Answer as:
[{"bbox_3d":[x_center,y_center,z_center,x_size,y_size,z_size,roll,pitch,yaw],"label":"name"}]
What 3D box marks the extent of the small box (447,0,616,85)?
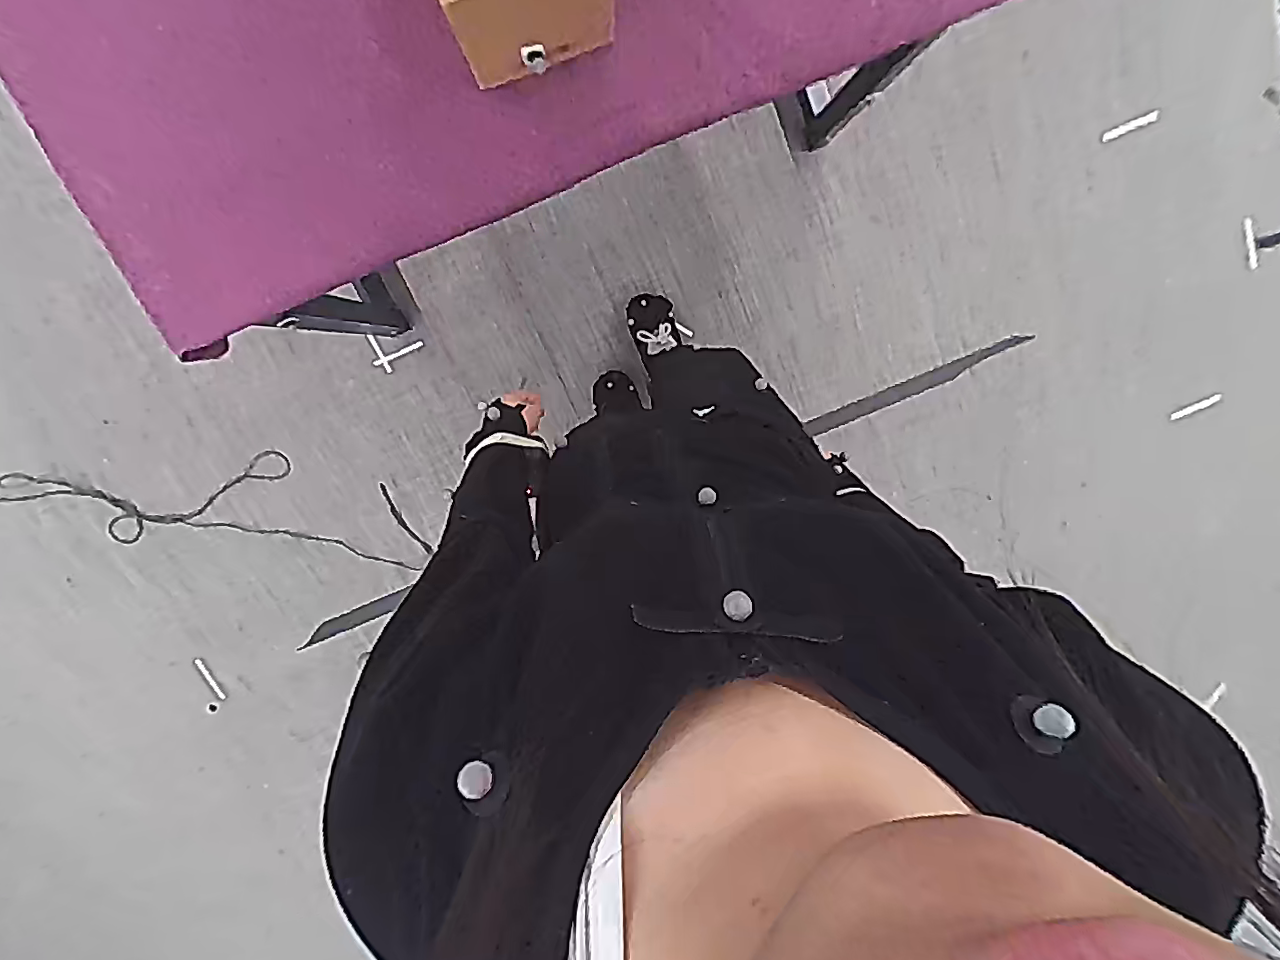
[{"bbox_3d":[-0.128,-0.542,0.529,0.168,0.176,0.179,-21,104,2],"label":"small box"}]
